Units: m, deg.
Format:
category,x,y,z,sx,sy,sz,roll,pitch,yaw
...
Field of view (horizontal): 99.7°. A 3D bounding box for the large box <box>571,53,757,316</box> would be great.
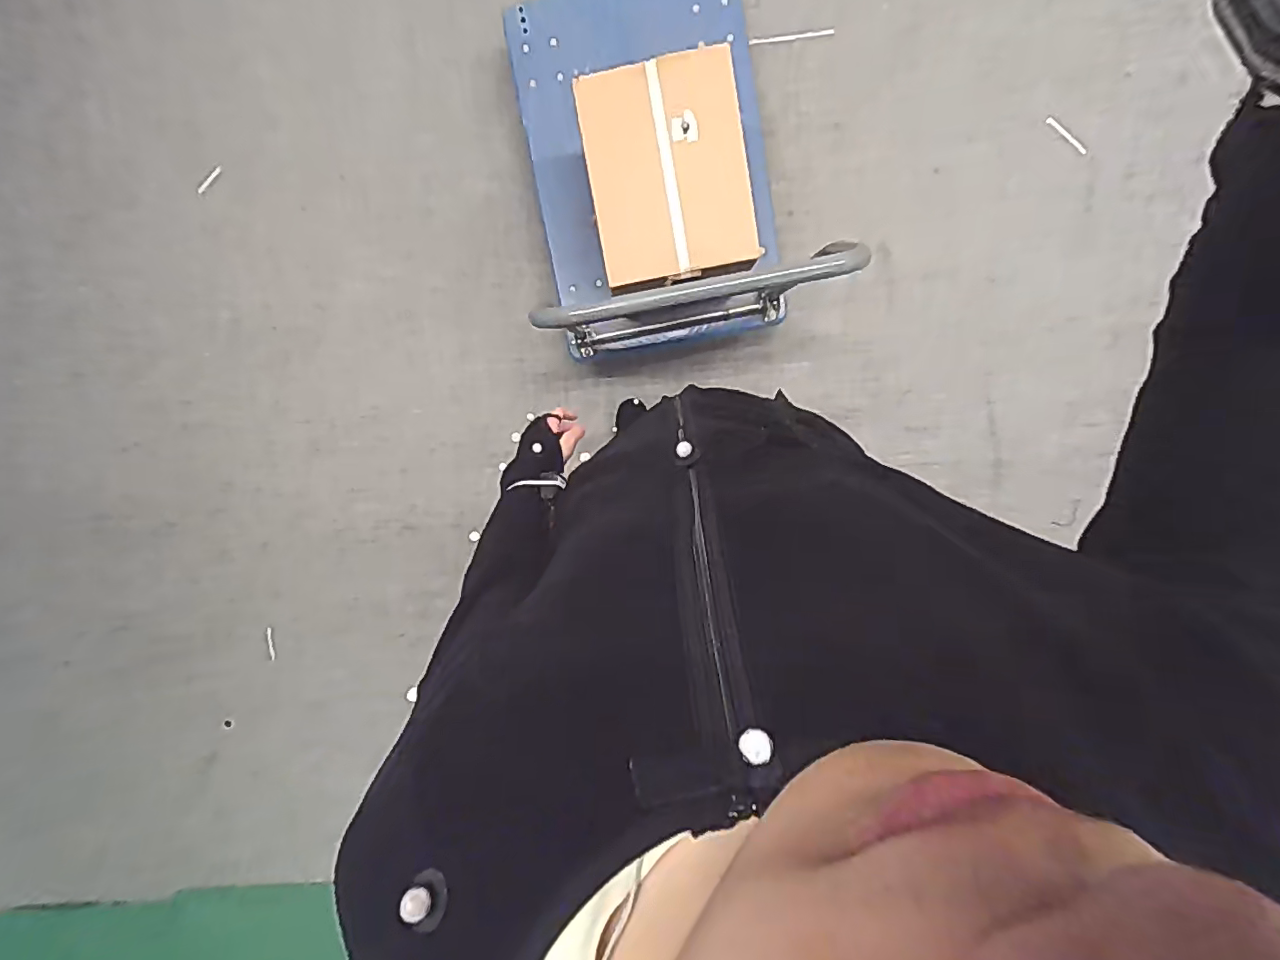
category,x,y,z,sx,sy,sz,roll,pitch,yaw
large box,0.060,-0.627,1.228,0.320,0.320,0.408,-10,96,3
